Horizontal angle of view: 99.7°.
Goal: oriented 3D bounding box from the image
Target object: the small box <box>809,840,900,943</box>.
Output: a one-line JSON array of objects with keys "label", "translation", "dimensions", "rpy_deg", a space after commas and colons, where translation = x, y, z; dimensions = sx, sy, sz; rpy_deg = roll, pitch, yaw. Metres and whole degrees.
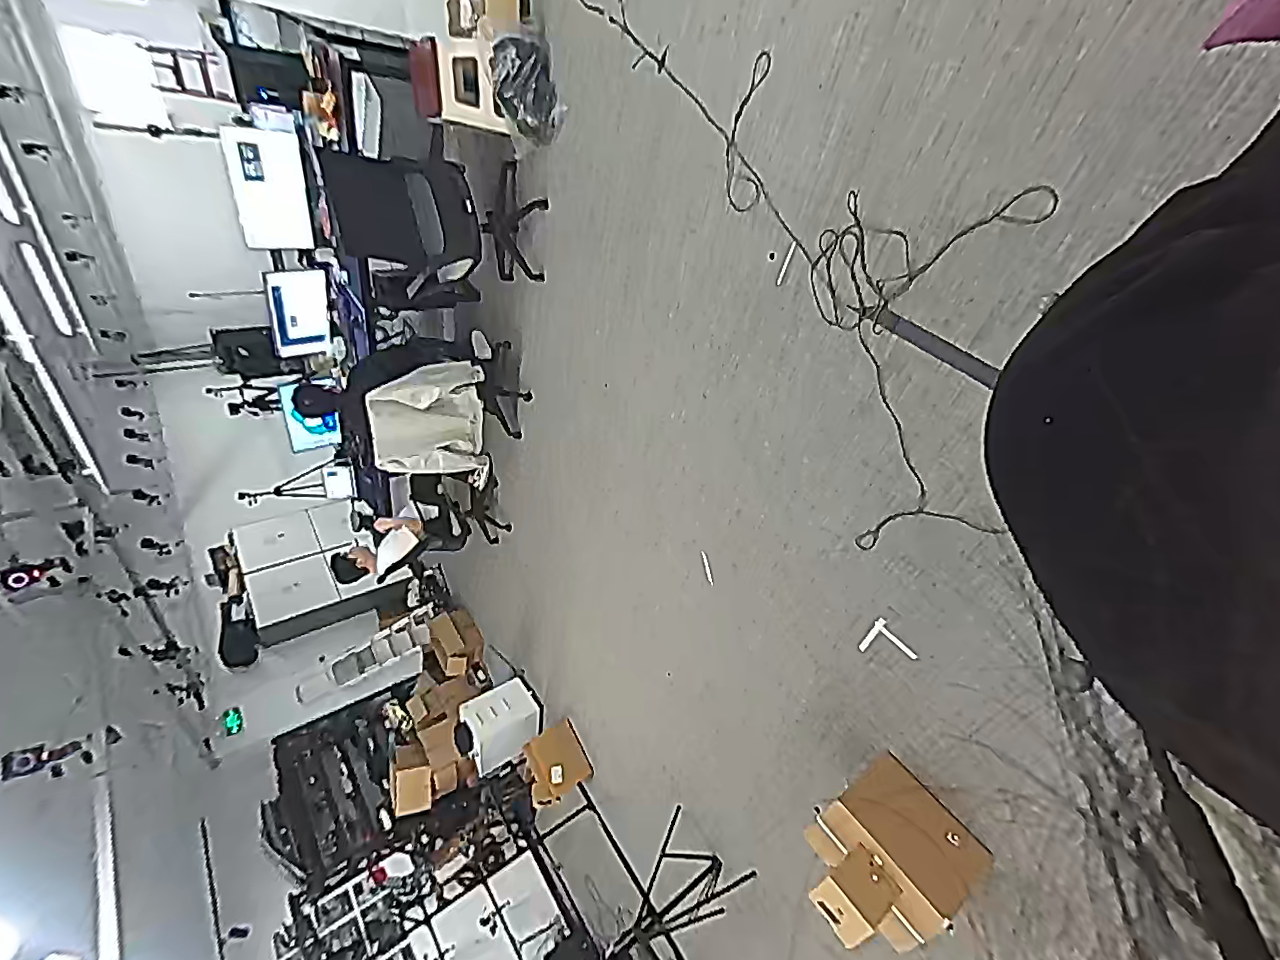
[{"label": "small box", "translation": [0.665, 1.269, 1.672], "dimensions": [0.168, 0.176, 0.179], "rpy_deg": [44, 135, 34]}]
